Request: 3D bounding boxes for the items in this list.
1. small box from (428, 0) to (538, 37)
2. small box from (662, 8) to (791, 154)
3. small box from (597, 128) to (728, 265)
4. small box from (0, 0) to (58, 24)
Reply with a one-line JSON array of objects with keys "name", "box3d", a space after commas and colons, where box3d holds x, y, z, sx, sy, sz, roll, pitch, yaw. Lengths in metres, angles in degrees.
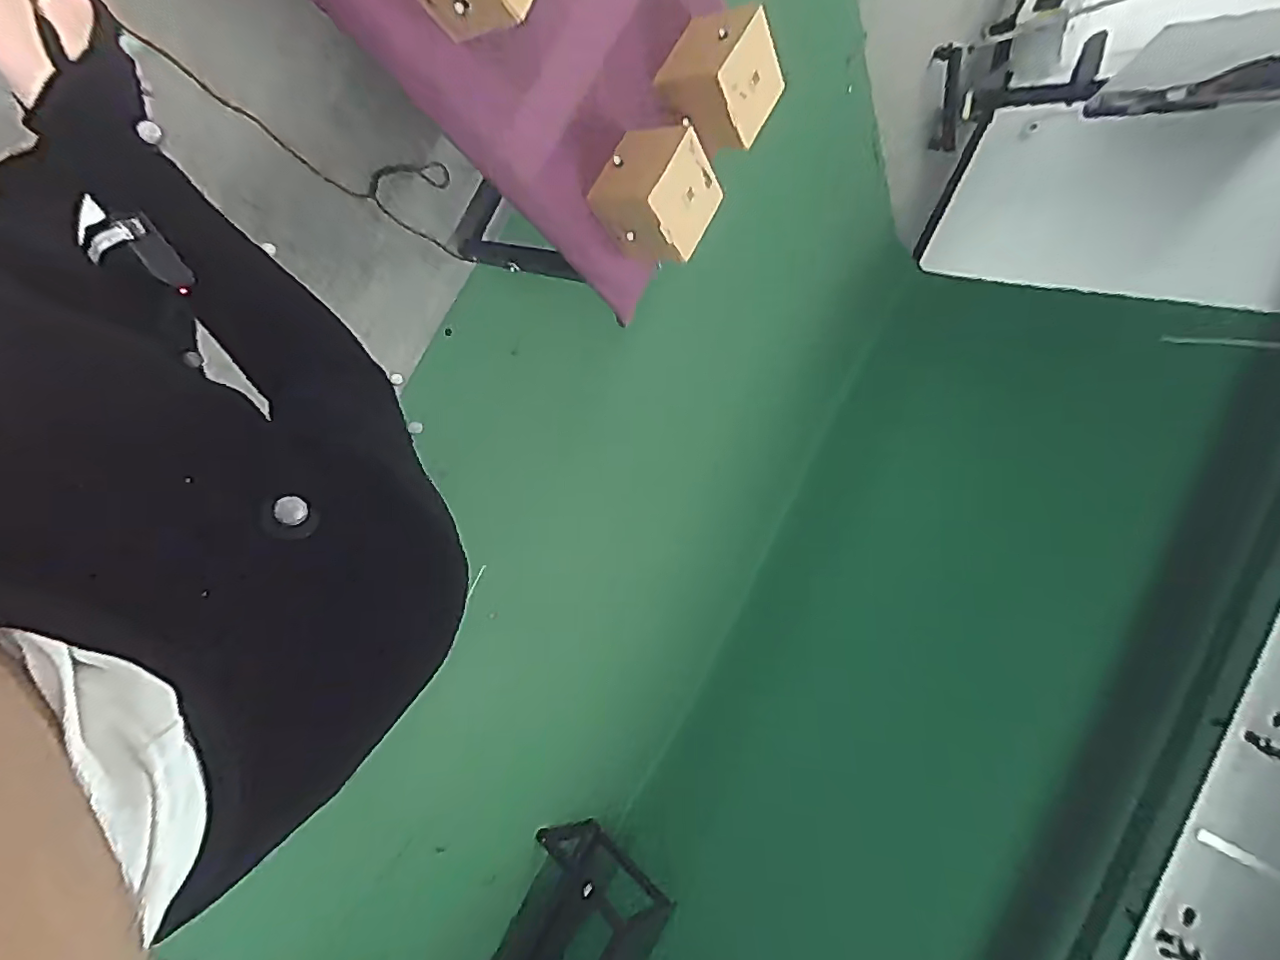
[{"name": "small box", "box3d": [-0.214, -0.716, 0.687, 0.168, 0.176, 0.179, 26, 89, -54]}, {"name": "small box", "box3d": [0.174, -0.799, 1.098, 0.179, 0.176, 0.168, -58, 142, -6]}, {"name": "small box", "box3d": [0.039, -0.559, 1.076, 0.179, 0.176, 0.168, -60, 142, -7]}, {"name": "small box", "box3d": [-0.484, -0.453, 0.353, 0.168, 0.176, 0.179, 12, 100, -52]}]
